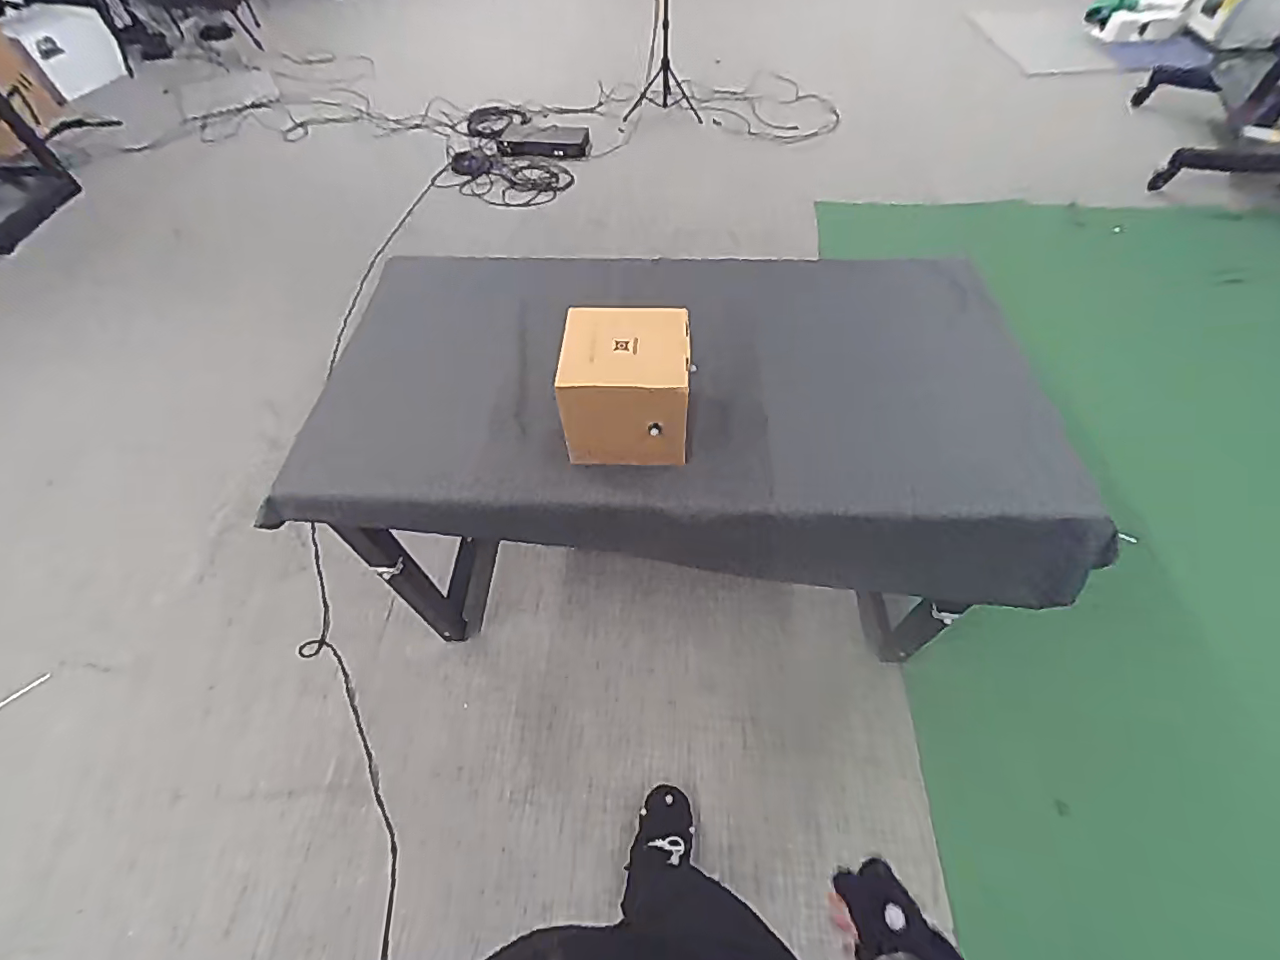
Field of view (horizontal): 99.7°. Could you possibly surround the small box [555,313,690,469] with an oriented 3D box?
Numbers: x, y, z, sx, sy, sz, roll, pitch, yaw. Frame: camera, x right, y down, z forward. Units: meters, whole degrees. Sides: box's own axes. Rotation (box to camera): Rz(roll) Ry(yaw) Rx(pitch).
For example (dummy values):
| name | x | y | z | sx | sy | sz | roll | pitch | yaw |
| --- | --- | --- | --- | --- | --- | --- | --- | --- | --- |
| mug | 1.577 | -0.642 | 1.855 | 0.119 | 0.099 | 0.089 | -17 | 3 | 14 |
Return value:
| name | x | y | z | sx | sy | sz | roll | pitch | yaw |
| --- | --- | --- | --- | --- | --- | --- | --- | --- | --- |
| small box | -0.017 | -0.128 | 0.808 | 0.179 | 0.176 | 0.168 | 0 | 54 | 4 |
